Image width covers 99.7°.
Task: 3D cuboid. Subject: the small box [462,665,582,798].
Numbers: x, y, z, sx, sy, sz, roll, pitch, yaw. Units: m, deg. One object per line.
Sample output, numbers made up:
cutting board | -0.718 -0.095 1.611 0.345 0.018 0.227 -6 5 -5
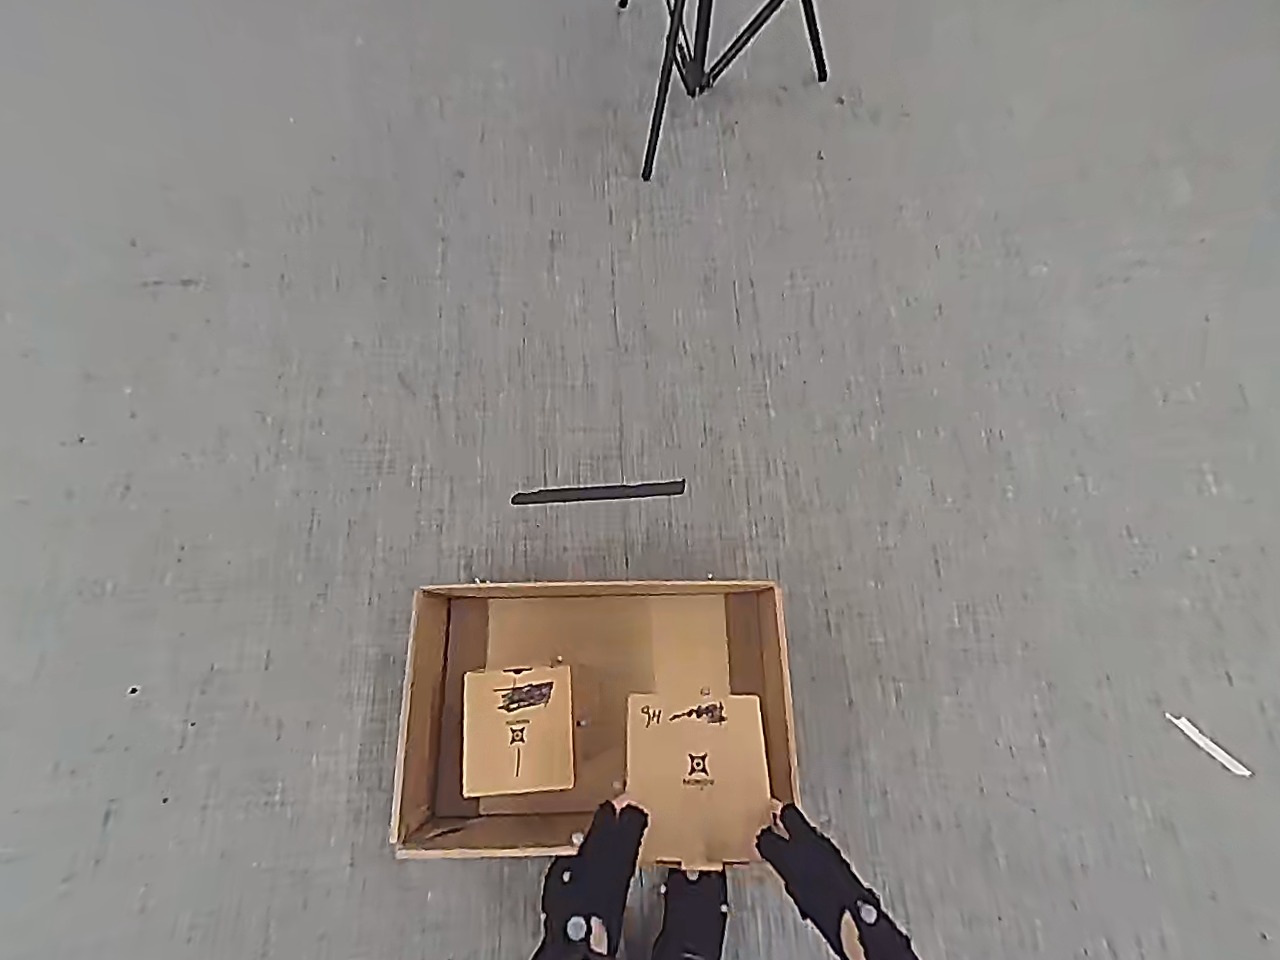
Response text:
small box | -0.185 0.399 0.888 0.168 0.176 0.179 -3 74 -3

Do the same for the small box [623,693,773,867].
small box | 0.064 0.382 0.693 0.168 0.176 0.179 1 57 -1
